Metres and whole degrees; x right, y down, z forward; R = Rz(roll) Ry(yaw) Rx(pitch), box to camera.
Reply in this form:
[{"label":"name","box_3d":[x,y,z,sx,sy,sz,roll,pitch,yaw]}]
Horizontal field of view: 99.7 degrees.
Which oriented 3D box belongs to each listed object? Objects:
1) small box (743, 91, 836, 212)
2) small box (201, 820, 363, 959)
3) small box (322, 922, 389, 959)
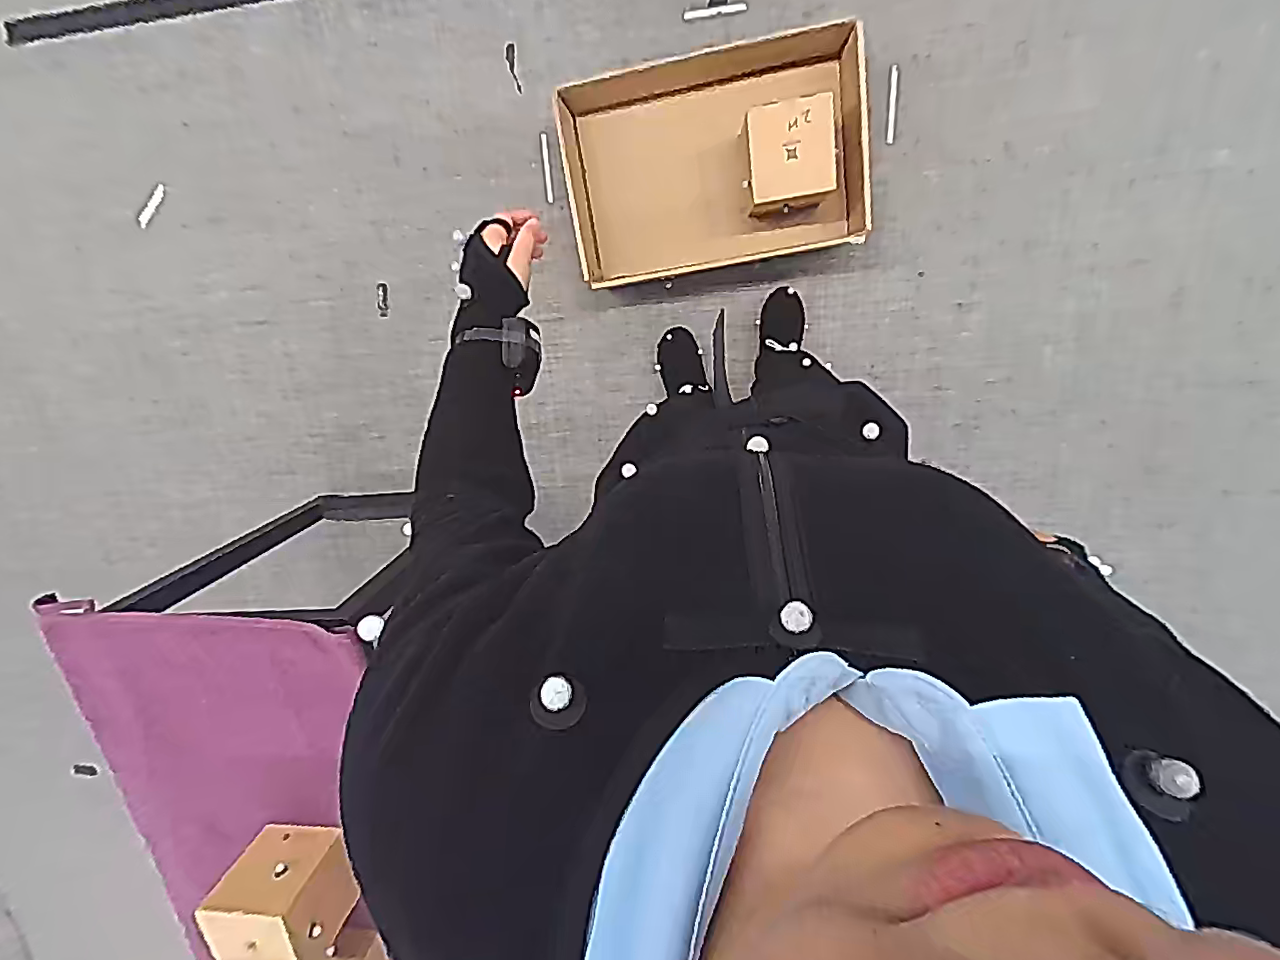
[{"label":"small box","box_3d":[0.311,-0.680,1.144,0.168,0.176,0.179,-6,106,8]},{"label":"small box","box_3d":[-0.657,0.774,1.015,0.168,0.176,0.179,-2,108,7]},{"label":"small box","box_3d":[-0.626,1.045,1.098,0.168,0.176,0.179,-3,107,7]}]
